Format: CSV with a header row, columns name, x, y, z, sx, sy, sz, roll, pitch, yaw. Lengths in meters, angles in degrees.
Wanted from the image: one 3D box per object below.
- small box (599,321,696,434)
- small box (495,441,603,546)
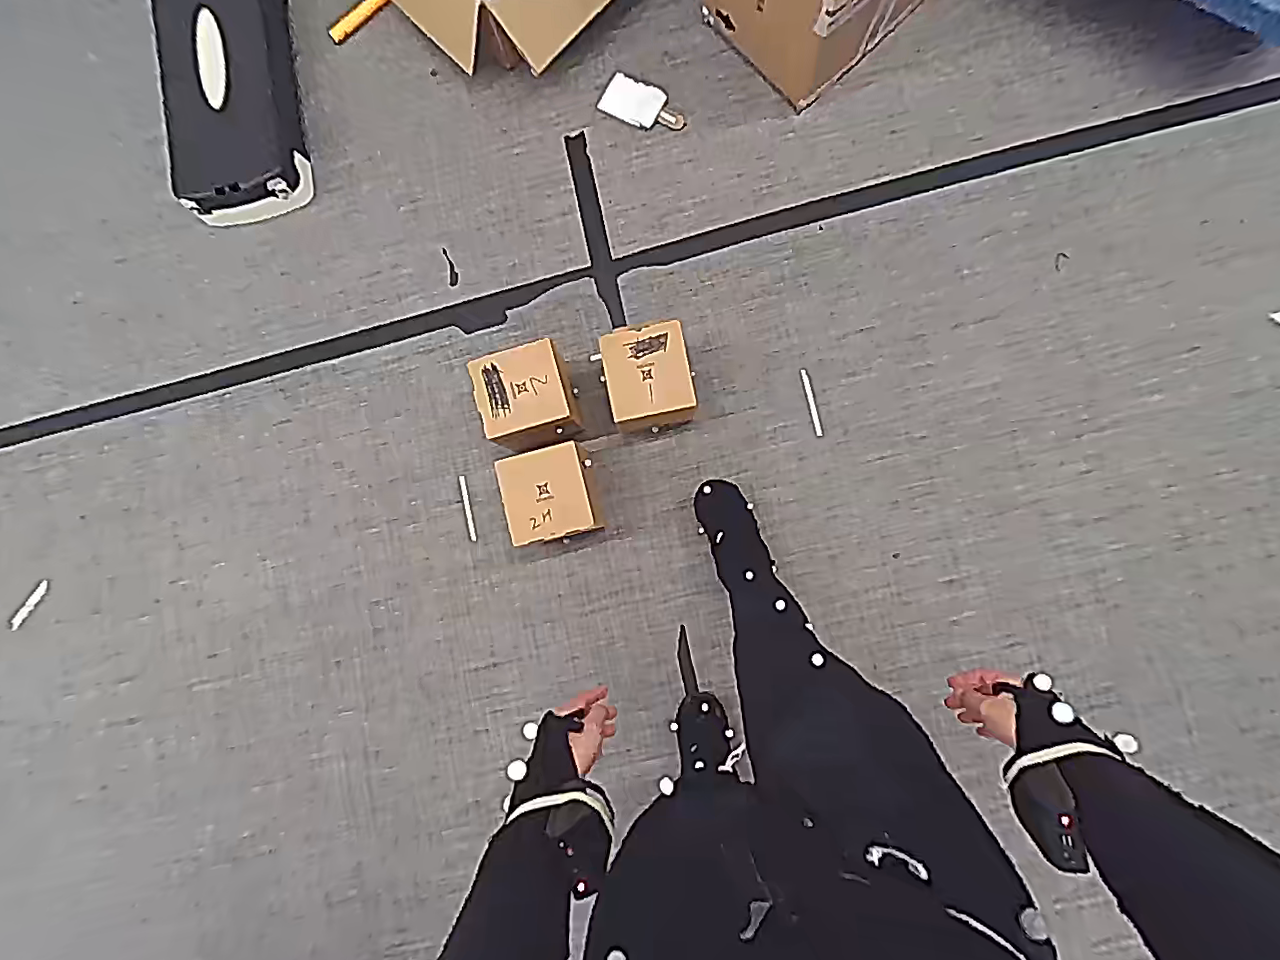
name,x,y,z,sx,sy,sz,roll,pitch,yaw
small box,0.017,-0.205,1.124,0.168,0.176,0.179,-11,86,3
small box,-0.181,0.032,1.118,0.168,0.176,0.179,-14,85,3
